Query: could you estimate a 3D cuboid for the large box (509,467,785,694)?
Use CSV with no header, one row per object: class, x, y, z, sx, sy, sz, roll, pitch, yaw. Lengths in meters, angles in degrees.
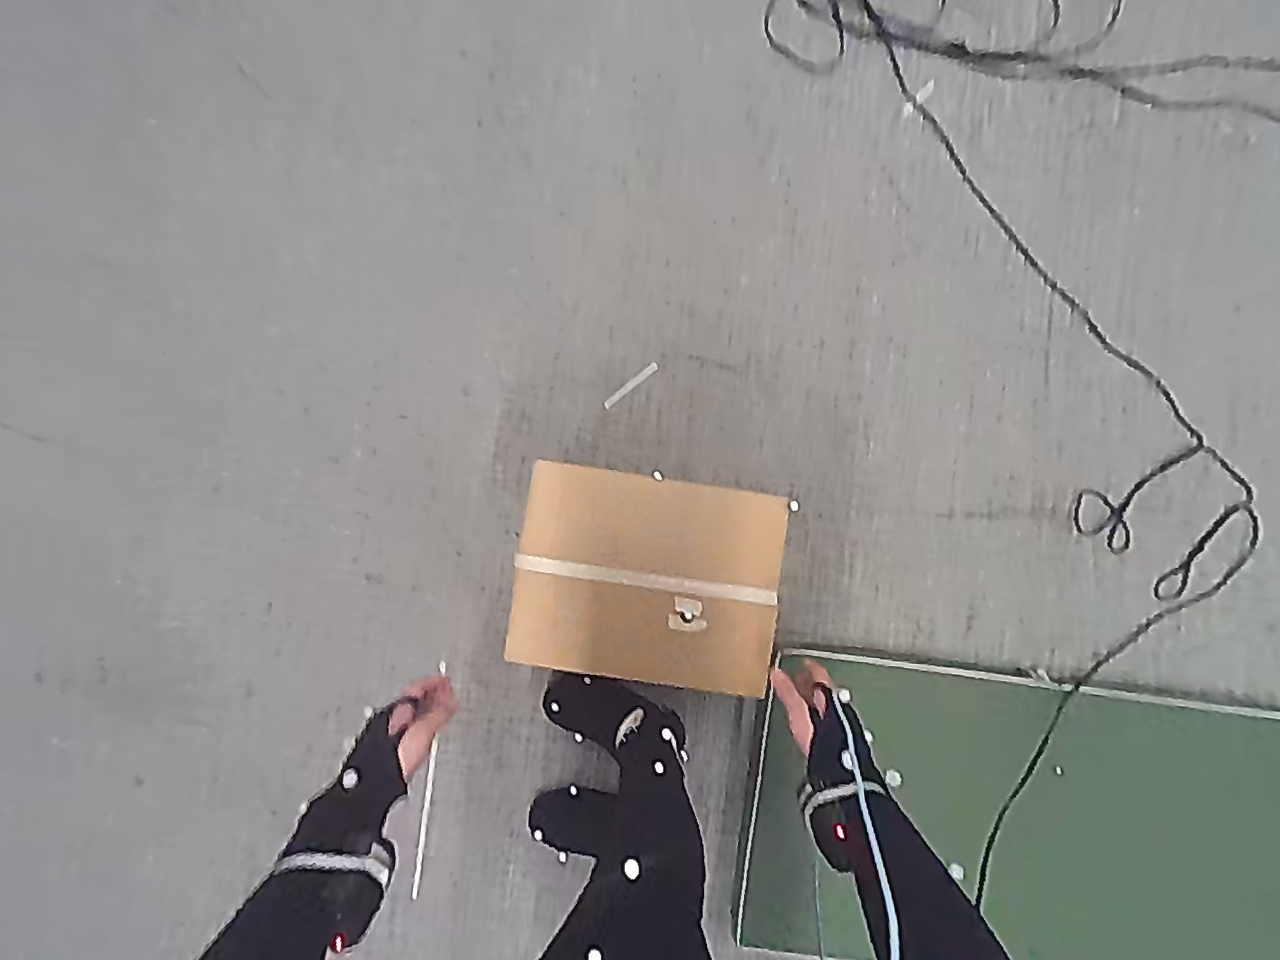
large box,0.007,0.167,0.986,0.408,0.320,0.320,9,86,-2
